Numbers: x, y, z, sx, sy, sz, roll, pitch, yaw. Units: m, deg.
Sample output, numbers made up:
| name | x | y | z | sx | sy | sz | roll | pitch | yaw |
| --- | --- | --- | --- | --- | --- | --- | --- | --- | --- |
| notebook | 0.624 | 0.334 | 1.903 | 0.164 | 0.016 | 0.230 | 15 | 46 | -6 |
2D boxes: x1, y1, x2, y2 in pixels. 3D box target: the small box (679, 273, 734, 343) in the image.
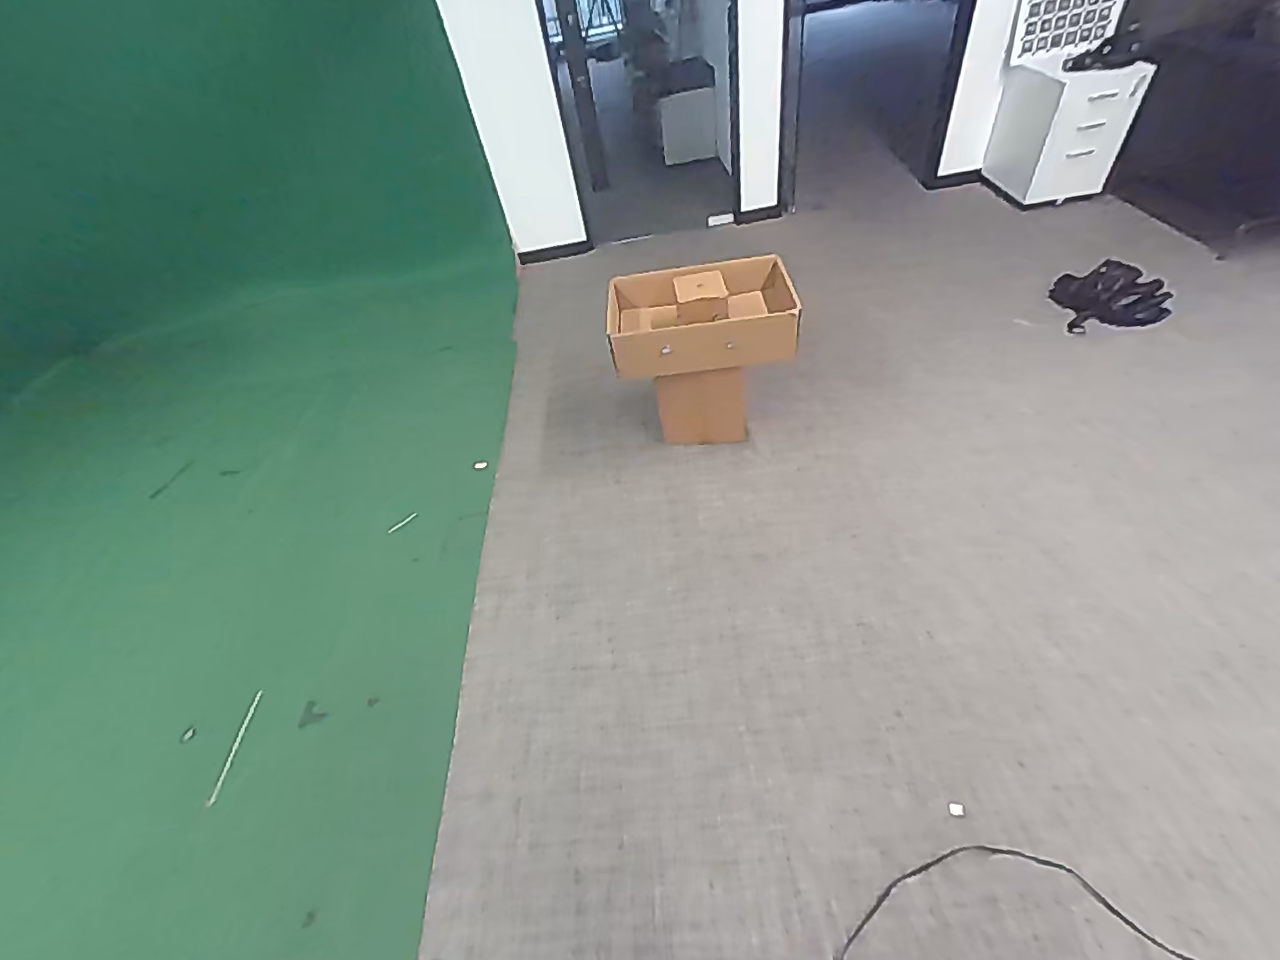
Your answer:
| name | x | y | z | sx | sy | sz | roll | pitch | yaw |
| --- | --- | --- | --- | --- | --- | --- | --- | --- | --- |
| small box | 0.231 | -0.588 | 1.867 | 0.168 | 0.176 | 0.179 | -7 | 44 | 3 |
